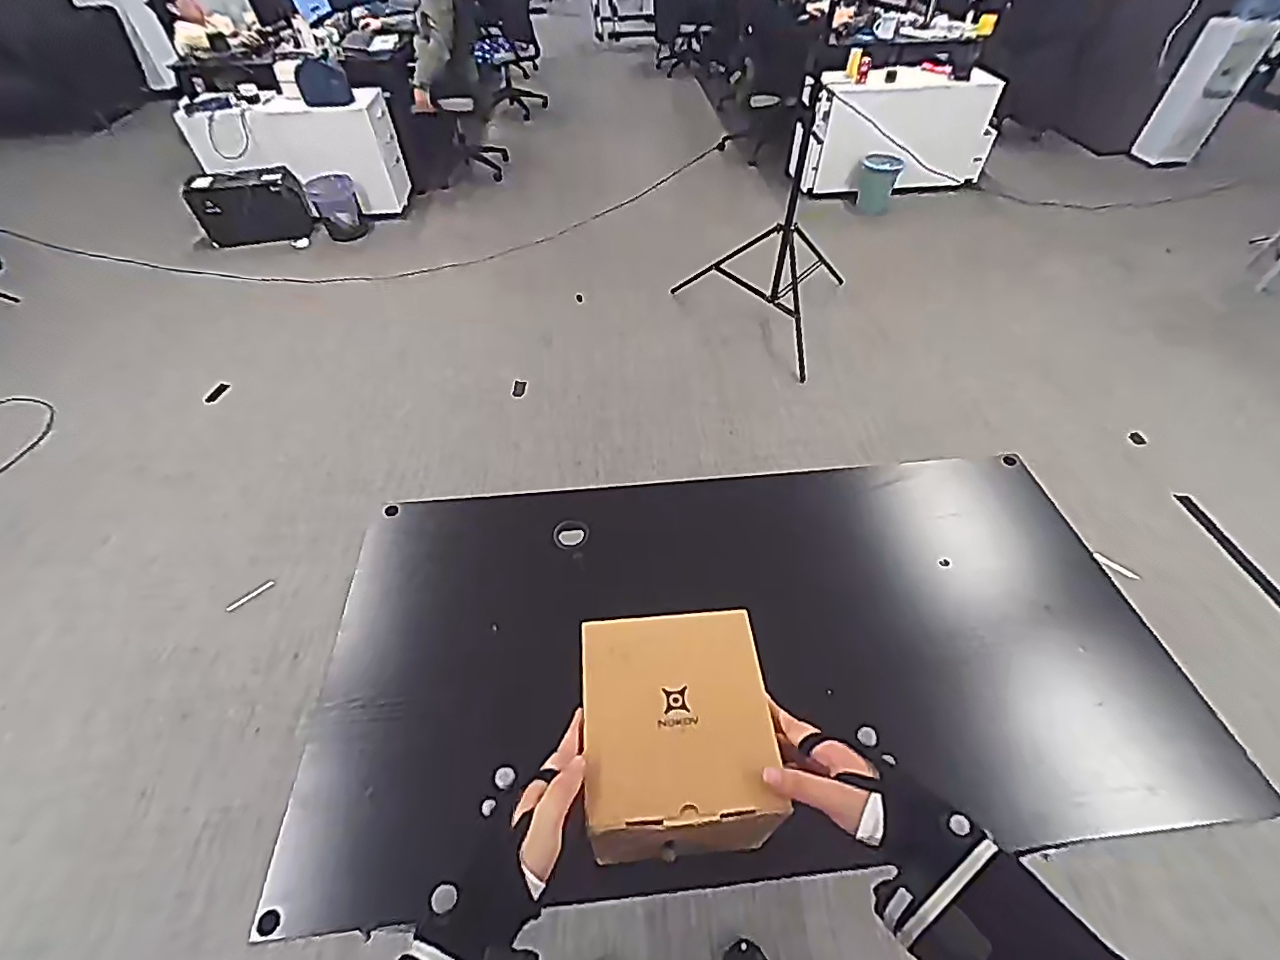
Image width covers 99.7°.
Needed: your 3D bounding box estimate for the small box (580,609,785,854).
[{"bbox_3d":[0.027,0.250,0.539,0.168,0.176,0.179,-3,49,-3],"label":"small box"}]
